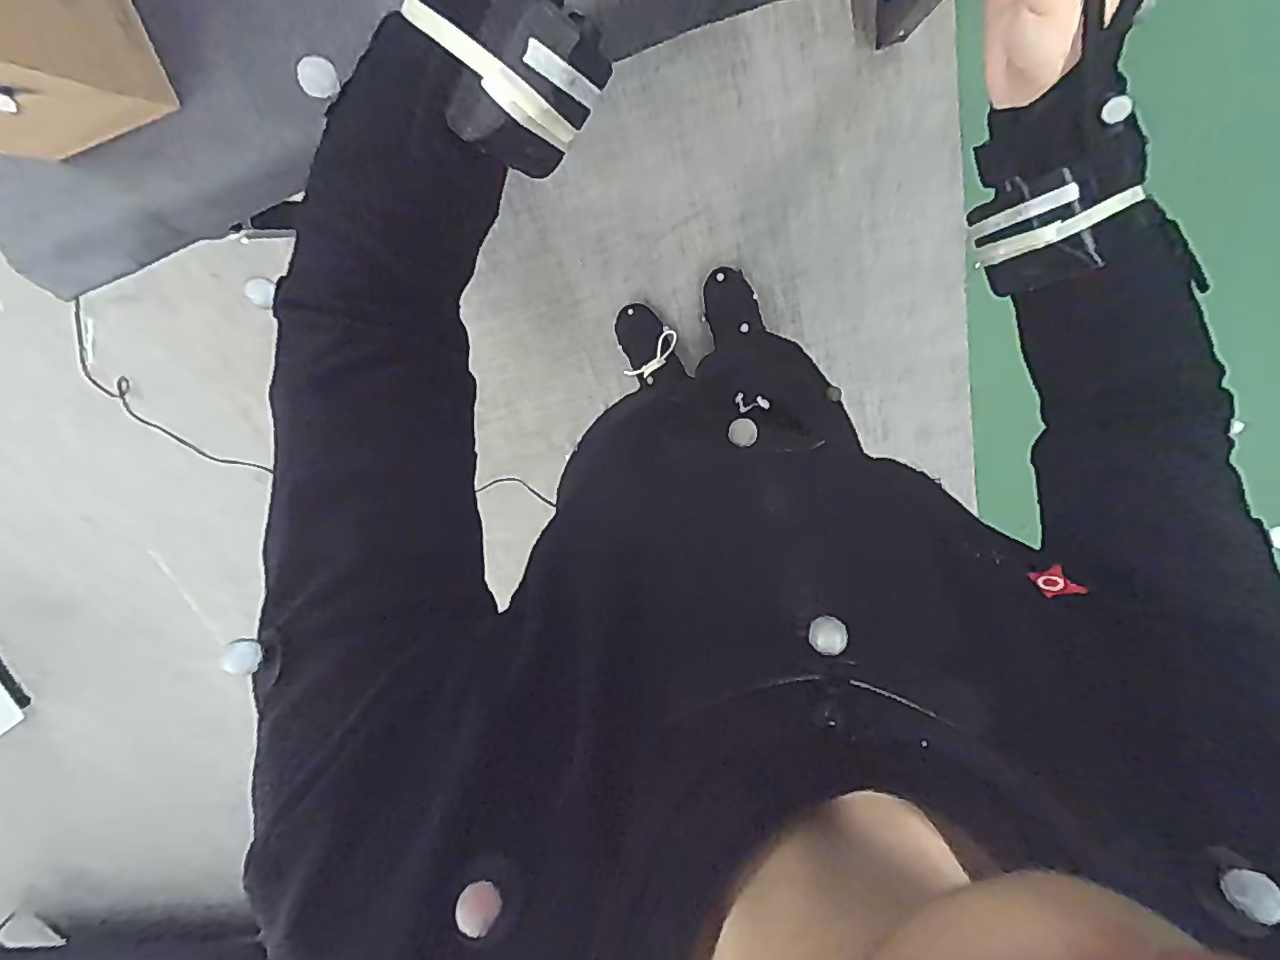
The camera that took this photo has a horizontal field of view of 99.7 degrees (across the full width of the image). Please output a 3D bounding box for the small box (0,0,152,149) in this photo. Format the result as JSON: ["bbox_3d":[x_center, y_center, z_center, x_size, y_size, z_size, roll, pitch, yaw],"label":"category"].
[{"bbox_3d":[-0.563,-0.395,0.442,0.179,0.176,0.168,-10,111,12],"label":"small box"}]
